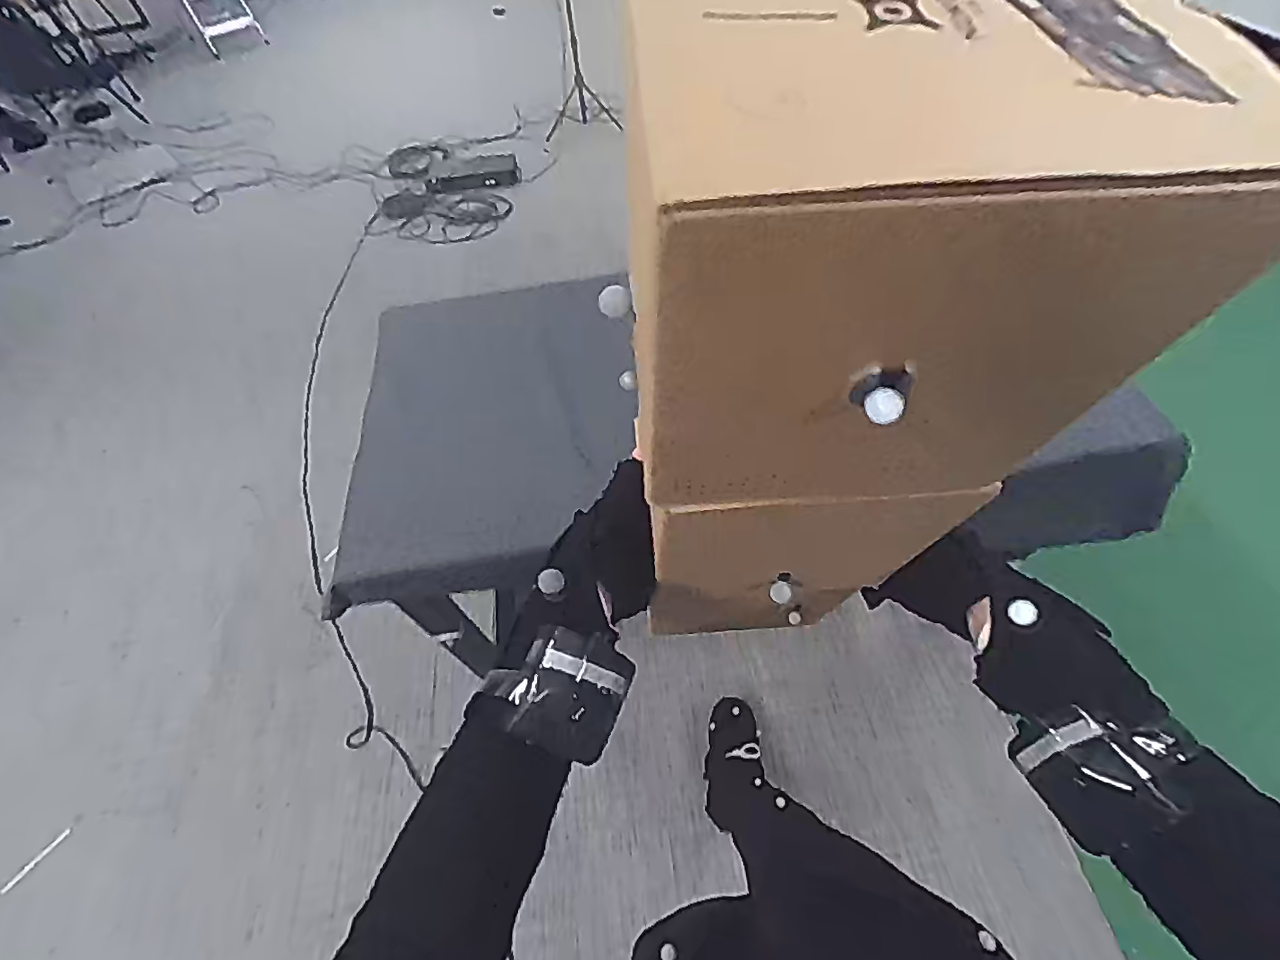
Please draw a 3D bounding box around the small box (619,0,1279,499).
[{"bbox_3d":[0.084,-0.102,0.242,0.179,0.176,0.168,-5,64,-4],"label":"small box"}]

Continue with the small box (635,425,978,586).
[{"bbox_3d":[0.088,-0.028,0.389,0.179,0.176,0.168,-4,63,-2],"label":"small box"}]

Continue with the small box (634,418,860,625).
[{"bbox_3d":[0.087,0.040,0.536,0.179,0.176,0.168,-5,63,0],"label":"small box"}]
